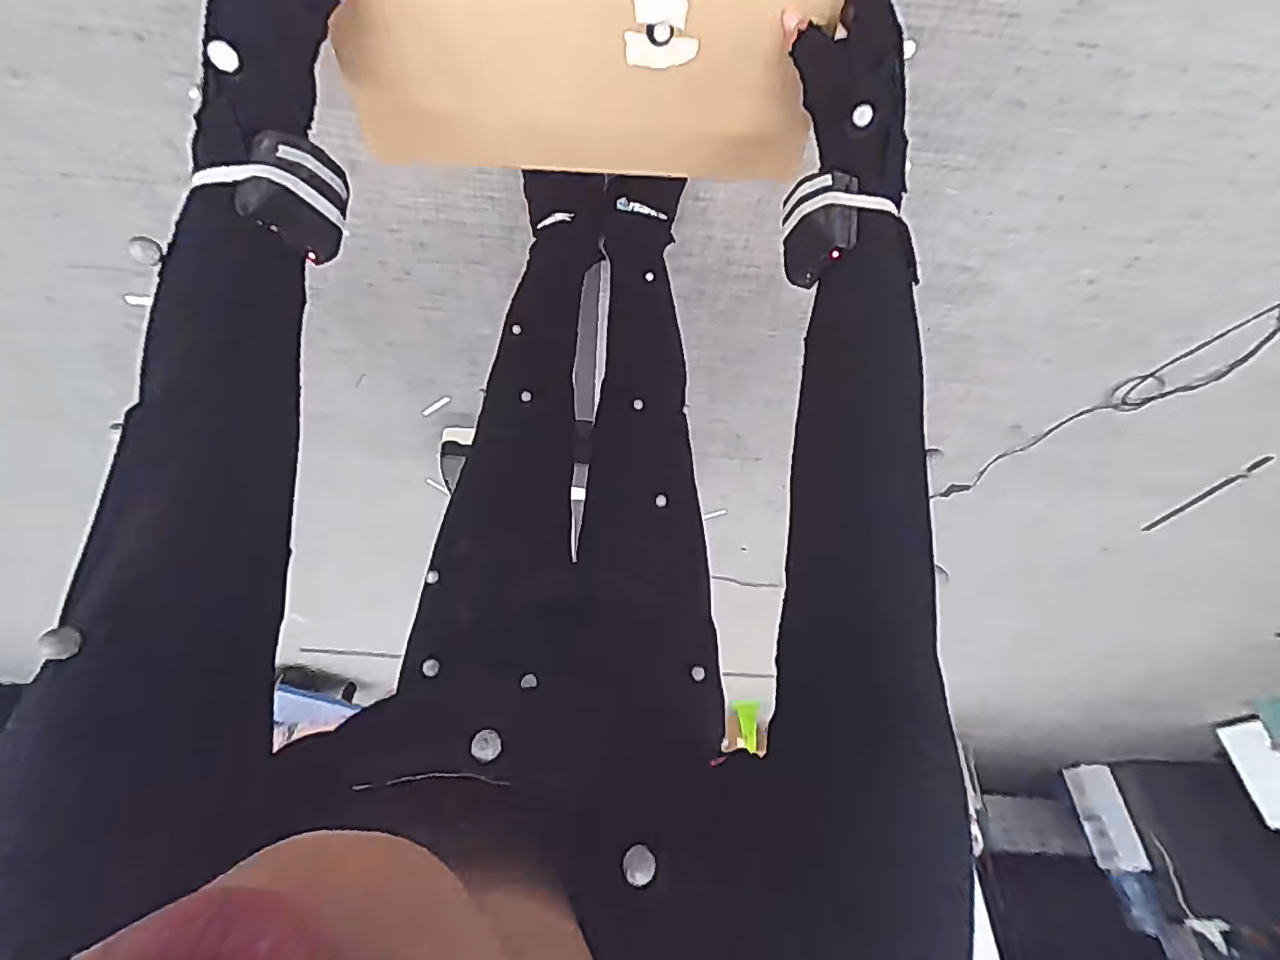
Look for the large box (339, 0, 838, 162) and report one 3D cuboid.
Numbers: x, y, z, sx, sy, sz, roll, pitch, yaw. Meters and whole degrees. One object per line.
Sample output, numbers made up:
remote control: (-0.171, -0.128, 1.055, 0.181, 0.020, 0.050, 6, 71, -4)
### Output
large box: (-0.040, -0.520, 0.488, 0.408, 0.320, 0.320, 2, 144, 0)
